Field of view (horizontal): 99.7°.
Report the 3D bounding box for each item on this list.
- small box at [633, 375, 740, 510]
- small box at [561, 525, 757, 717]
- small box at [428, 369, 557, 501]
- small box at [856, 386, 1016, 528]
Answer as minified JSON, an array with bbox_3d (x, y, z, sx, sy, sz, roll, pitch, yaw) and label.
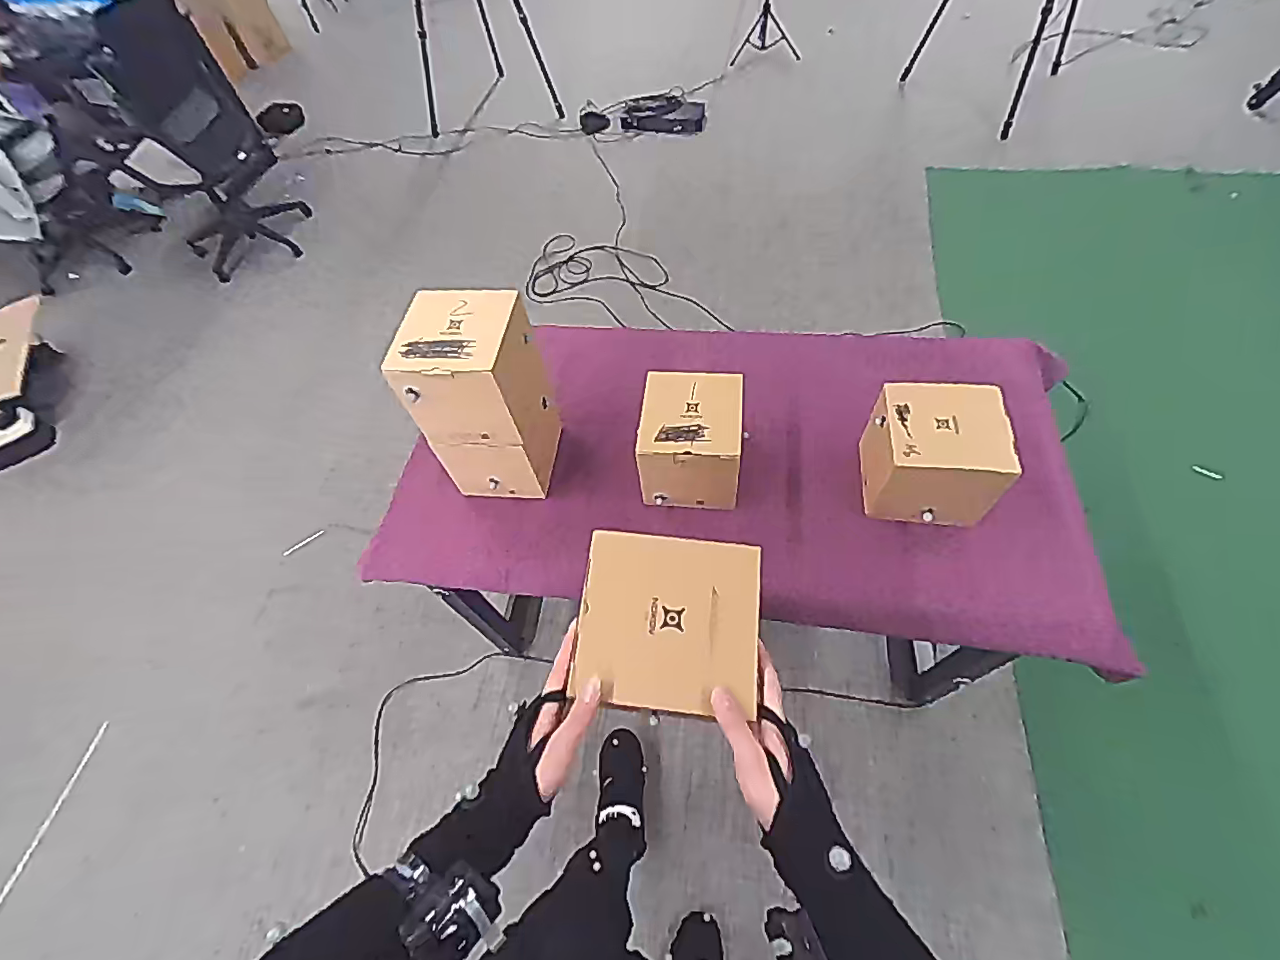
[{"bbox_3d":[0.087,-0.062,0.950,0.168,0.176,0.179,3,57,8],"label":"small box"},{"bbox_3d":[0.026,0.162,0.596,0.179,0.176,0.168,6,65,5],"label":"small box"},{"bbox_3d":[-0.257,-0.081,0.995,0.168,0.176,0.179,2,58,7],"label":"small box"},{"bbox_3d":[0.472,-0.034,0.891,0.179,0.176,0.168,5,58,9],"label":"small box"}]
